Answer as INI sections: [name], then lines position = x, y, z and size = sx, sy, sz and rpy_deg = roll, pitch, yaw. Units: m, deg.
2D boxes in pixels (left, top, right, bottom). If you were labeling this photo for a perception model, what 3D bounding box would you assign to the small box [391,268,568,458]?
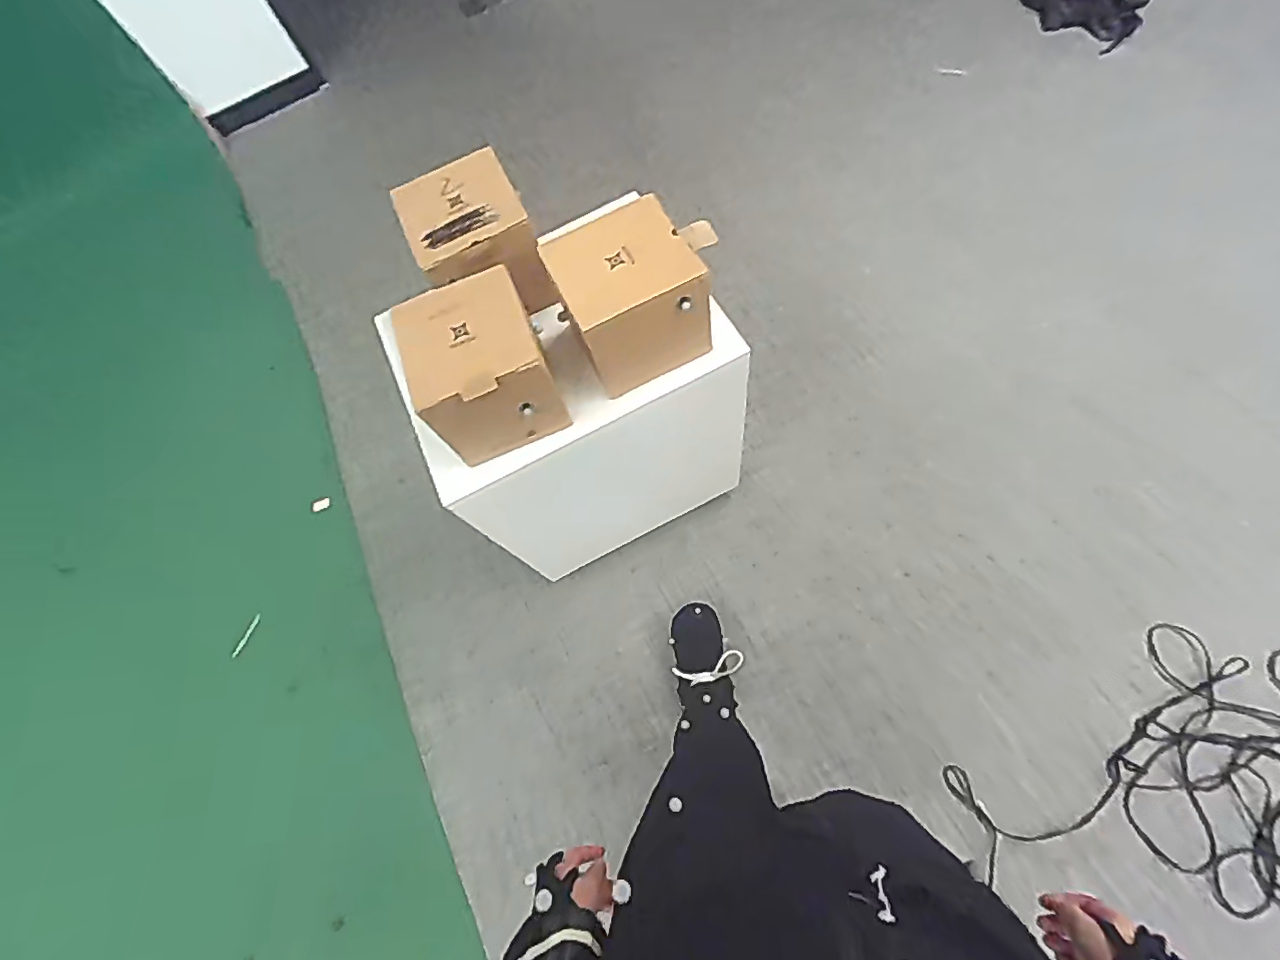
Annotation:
[small box]
position = -0.214, -0.150, 0.754
size = 0.168, 0.176, 0.179
rpy_deg = -22, 65, -3
